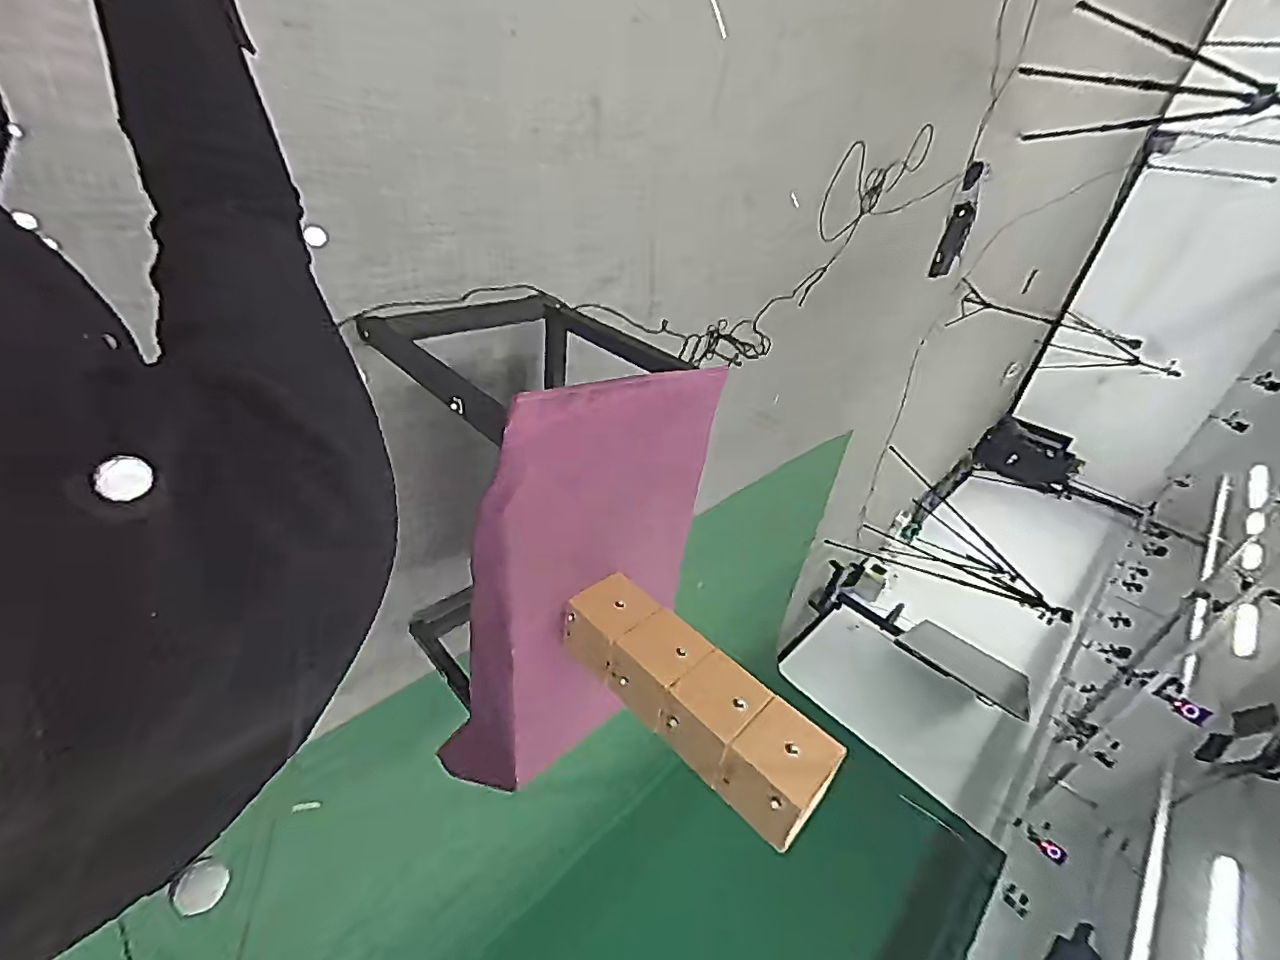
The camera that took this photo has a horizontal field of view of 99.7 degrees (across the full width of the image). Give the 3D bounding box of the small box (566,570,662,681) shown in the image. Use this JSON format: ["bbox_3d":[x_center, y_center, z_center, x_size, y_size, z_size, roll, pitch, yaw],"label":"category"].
[{"bbox_3d":[-0.071,0.360,1.363,0.179,0.176,0.168,-23,134,-40],"label":"small box"}]

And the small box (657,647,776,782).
[{"bbox_3d":[0.164,0.505,1.188,0.179,0.176,0.168,-23,133,-39],"label":"small box"}]

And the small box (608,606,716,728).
[{"bbox_3d":[0.048,0.431,1.276,0.179,0.176,0.168,-23,133,-39],"label":"small box"}]
